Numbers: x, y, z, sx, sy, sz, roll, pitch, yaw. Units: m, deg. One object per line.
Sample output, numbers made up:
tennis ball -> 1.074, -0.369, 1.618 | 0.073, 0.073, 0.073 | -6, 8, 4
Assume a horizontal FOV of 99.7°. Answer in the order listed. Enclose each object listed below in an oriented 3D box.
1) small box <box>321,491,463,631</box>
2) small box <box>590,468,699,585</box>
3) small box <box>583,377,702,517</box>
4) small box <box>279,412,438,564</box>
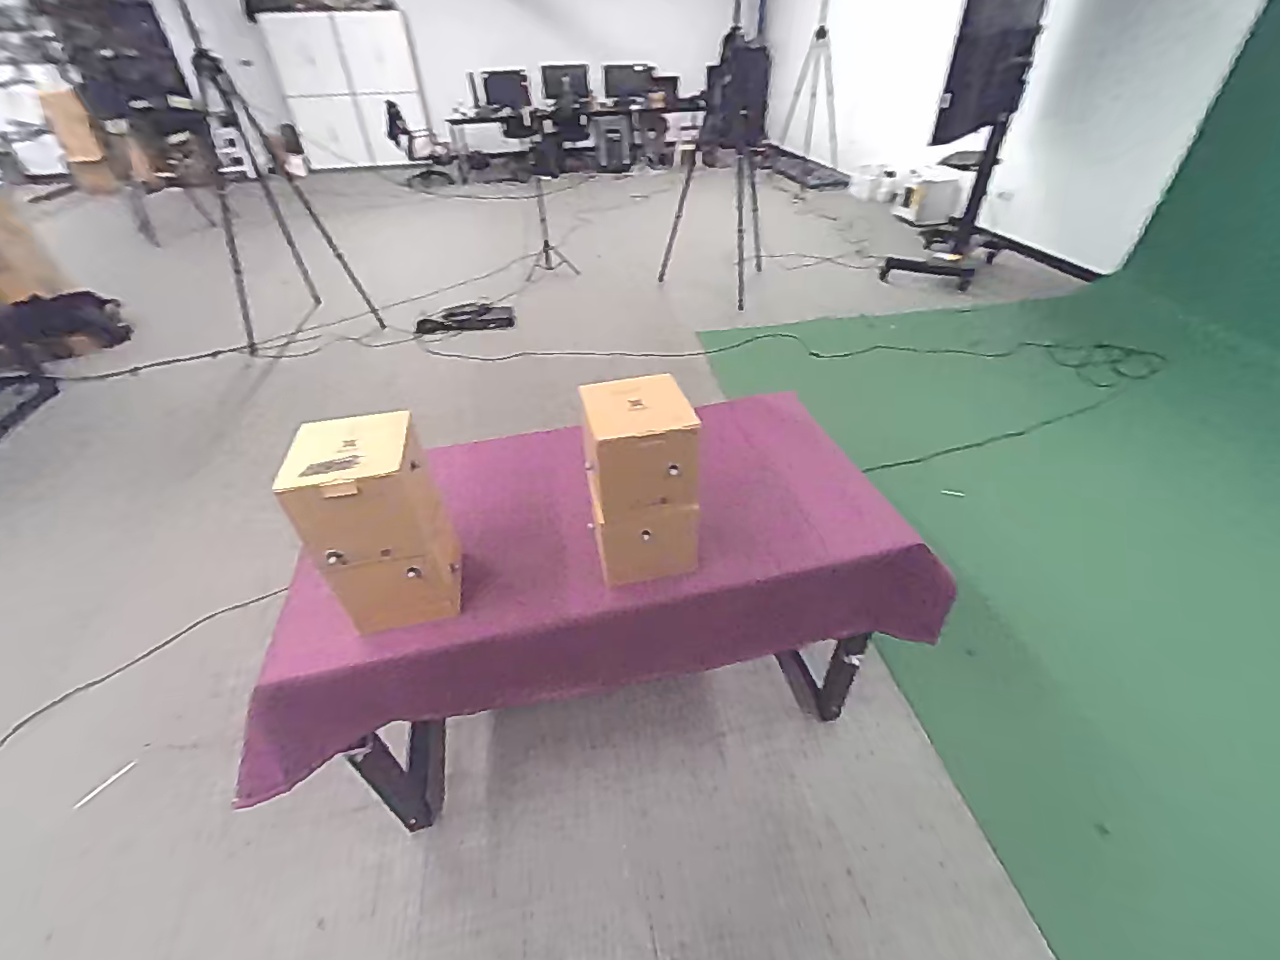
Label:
small box -> -0.424, 0.145, 0.956 | 0.179, 0.176, 0.168 | -9, 40, -10
small box -> 0.007, 0.078, 1.019 | 0.179, 0.176, 0.168 | -8, 40, -8
small box -> 0.002, -0.052, 0.921 | 0.168, 0.176, 0.179 | -9, 39, -10
small box -> -0.426, 0.016, 0.855 | 0.168, 0.176, 0.179 | -9, 38, -10
